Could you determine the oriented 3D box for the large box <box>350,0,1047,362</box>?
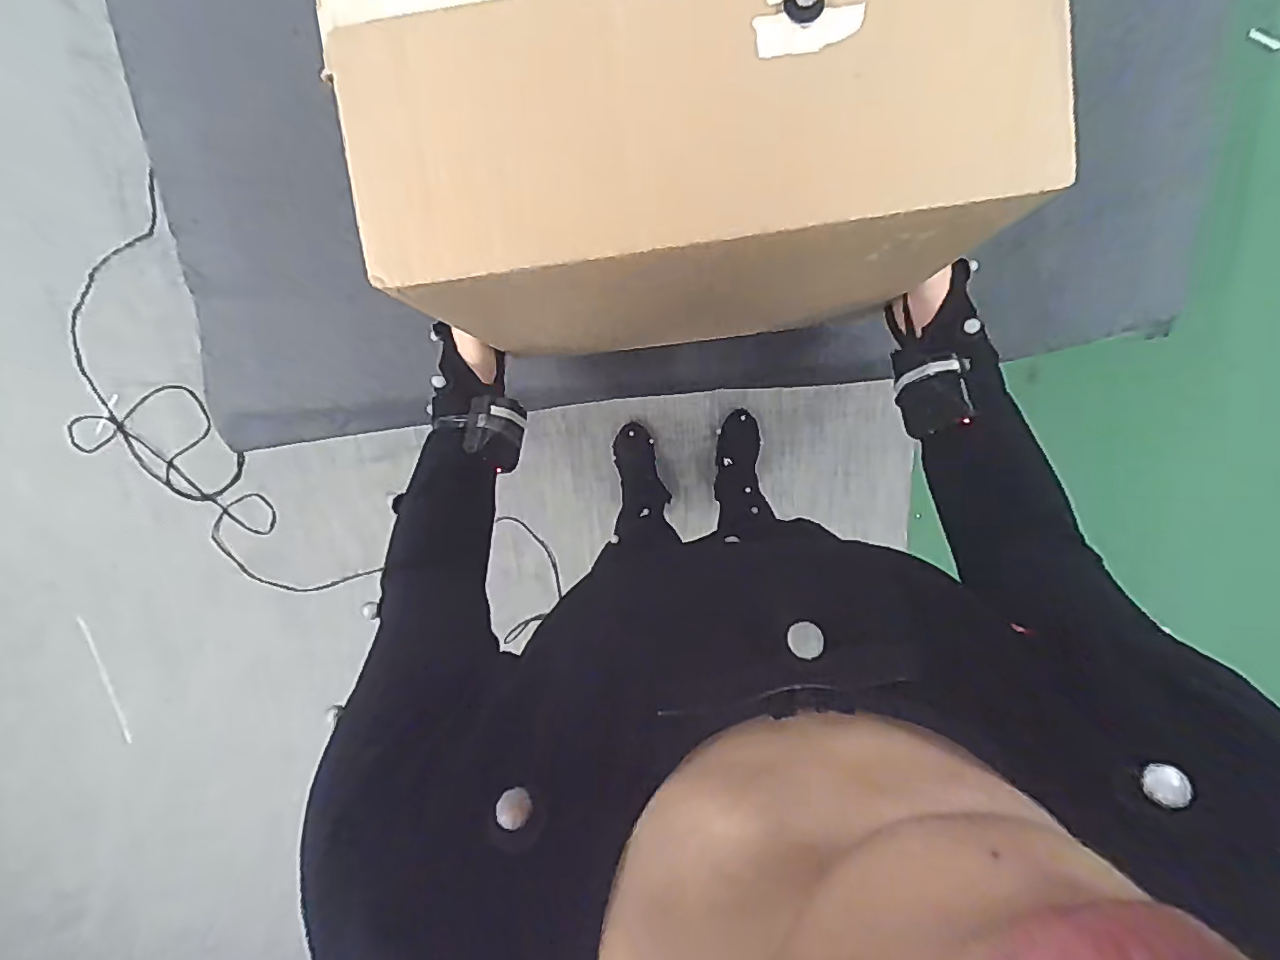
[{"bbox_3d":[0.029,-0.304,0.466,0.408,0.320,0.320,-7,94,4],"label":"large box"}]
